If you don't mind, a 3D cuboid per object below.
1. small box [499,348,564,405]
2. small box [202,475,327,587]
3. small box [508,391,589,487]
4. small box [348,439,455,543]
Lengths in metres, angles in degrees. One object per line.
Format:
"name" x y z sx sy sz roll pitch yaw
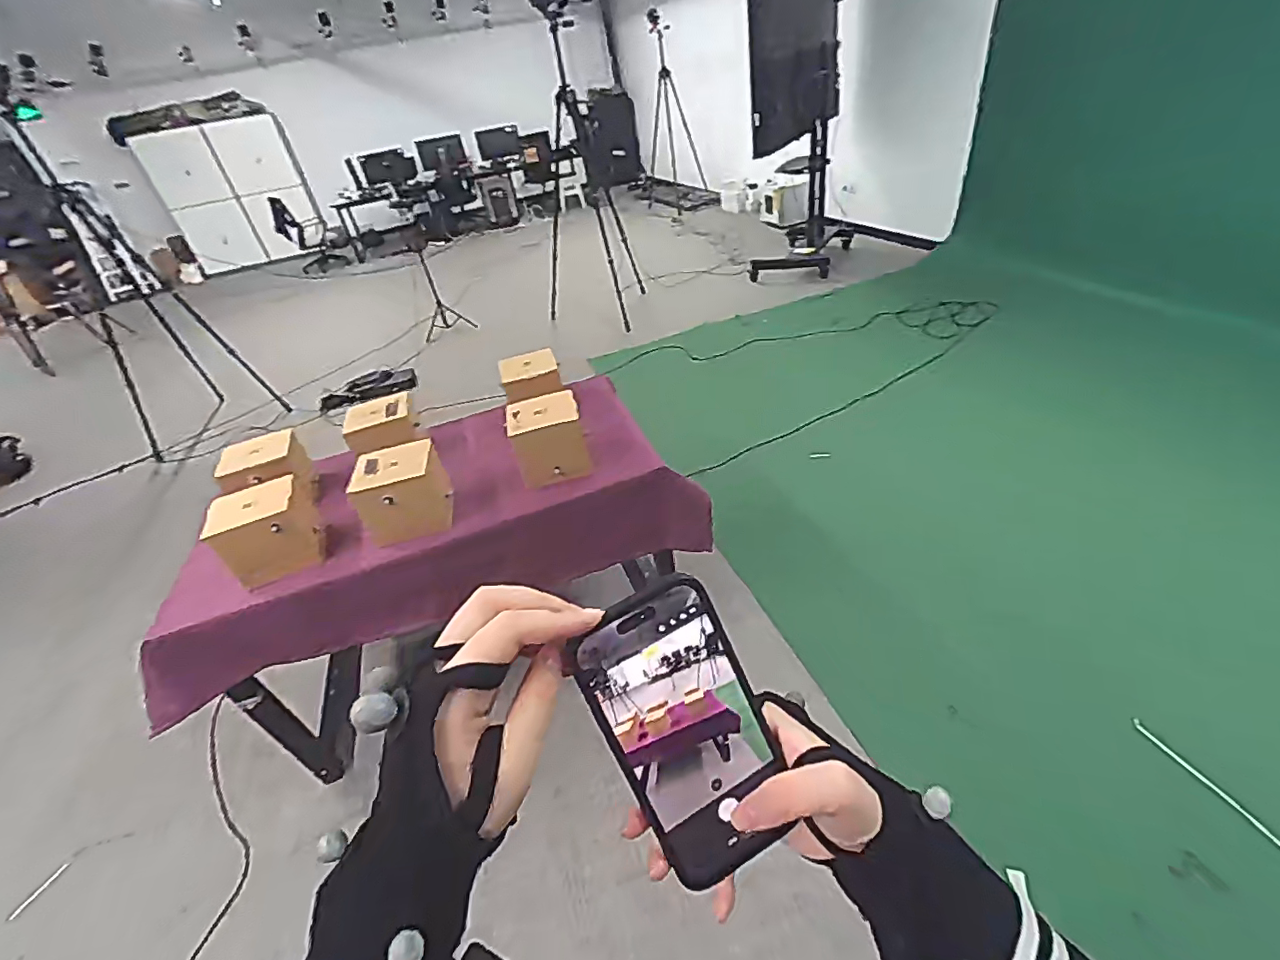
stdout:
"small box" -0.322 -0.277 1.647 0.168 0.176 0.179 -17 38 -7
"small box" -0.863 0.120 1.261 0.179 0.176 0.168 -21 37 -16
"small box" -0.233 -0.105 1.400 0.179 0.176 0.168 -14 36 -5
"small box" -0.566 0.029 1.306 0.179 0.176 0.168 -14 37 -6
